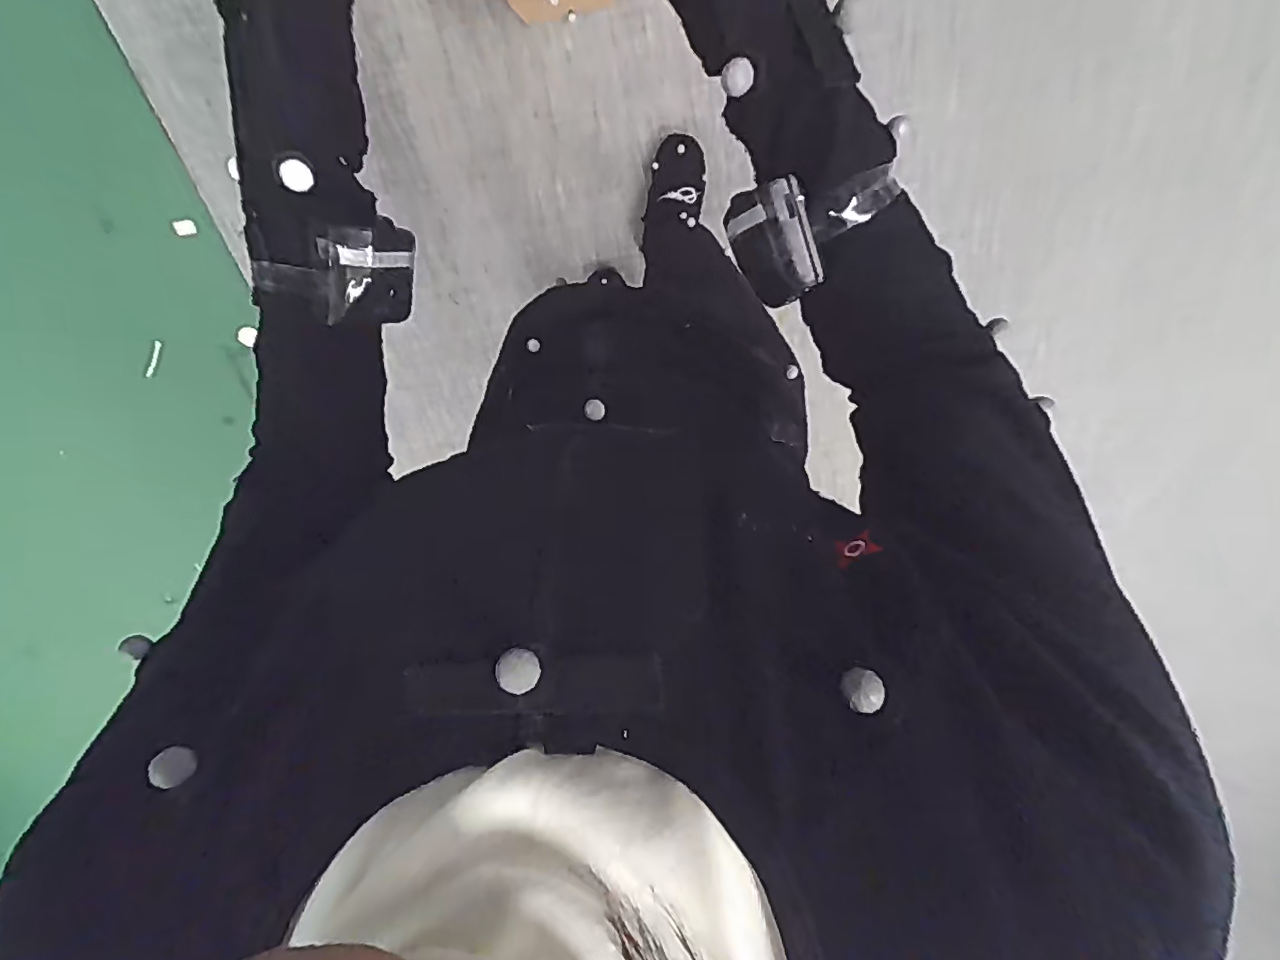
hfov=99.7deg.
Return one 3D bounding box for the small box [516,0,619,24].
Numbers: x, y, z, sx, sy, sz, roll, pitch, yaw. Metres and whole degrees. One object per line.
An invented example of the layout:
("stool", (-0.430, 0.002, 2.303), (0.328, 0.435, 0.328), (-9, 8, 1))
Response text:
("small box", (-0.130, -0.910, 0.919), (0.179, 0.176, 0.168), (-7, 120, 7))
